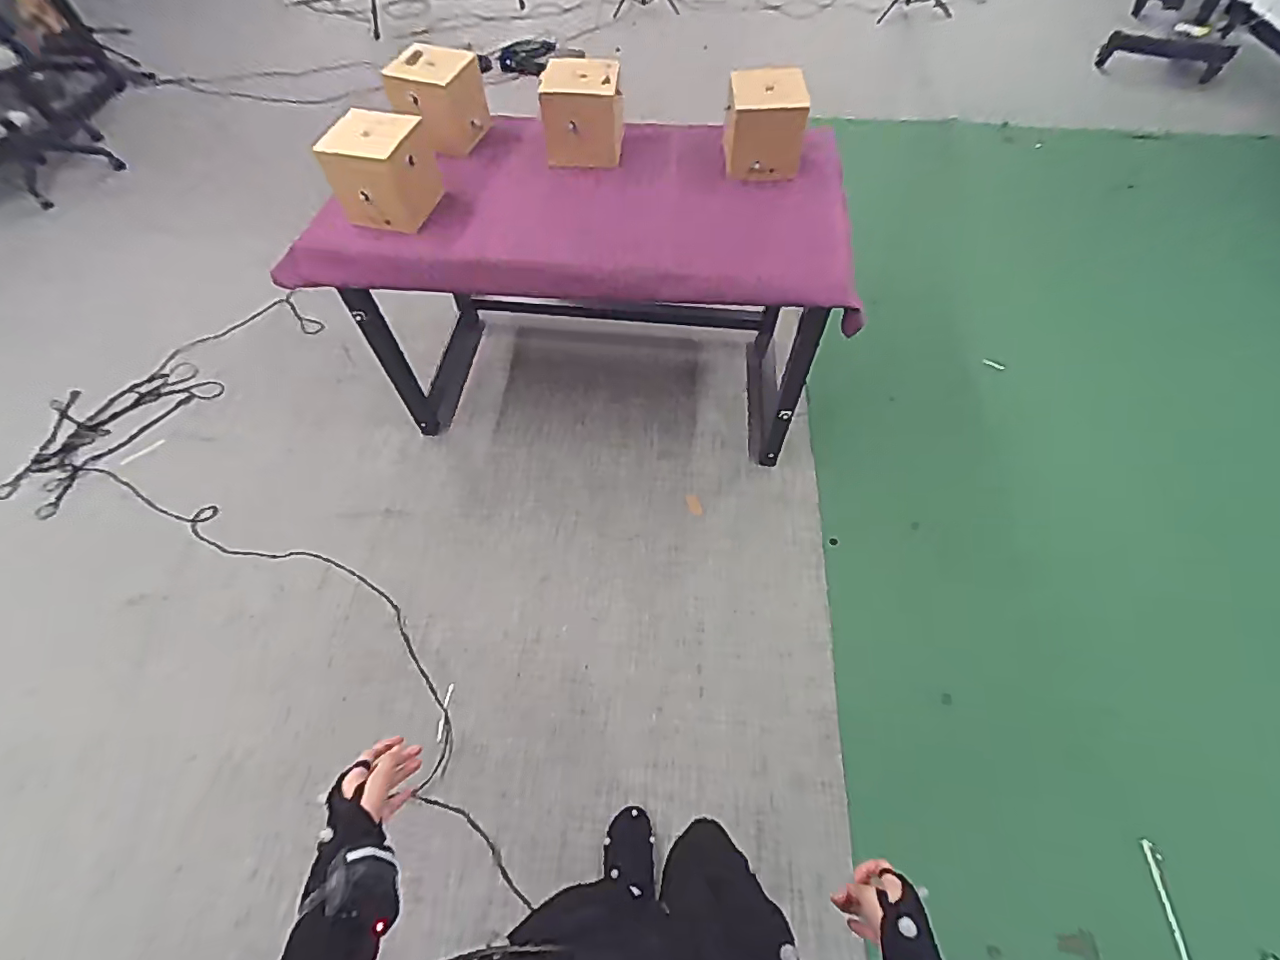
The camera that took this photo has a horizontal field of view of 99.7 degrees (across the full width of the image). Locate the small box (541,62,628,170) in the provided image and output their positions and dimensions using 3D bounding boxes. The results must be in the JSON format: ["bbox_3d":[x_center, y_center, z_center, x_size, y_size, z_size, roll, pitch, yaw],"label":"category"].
[{"bbox_3d":[-0.127,-0.885,1.321,0.179,0.176,0.168,4,61,4],"label":"small box"}]

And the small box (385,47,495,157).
[{"bbox_3d":[-0.491,-0.944,1.357,0.179,0.176,0.168,16,61,8],"label":"small box"}]

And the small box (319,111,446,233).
[{"bbox_3d":[-0.553,-0.676,1.194,0.168,0.176,0.179,12,59,7],"label":"small box"}]

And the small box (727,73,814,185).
[{"bbox_3d":[0.302,-0.833,1.286,0.168,0.176,0.179,0,60,2],"label":"small box"}]
